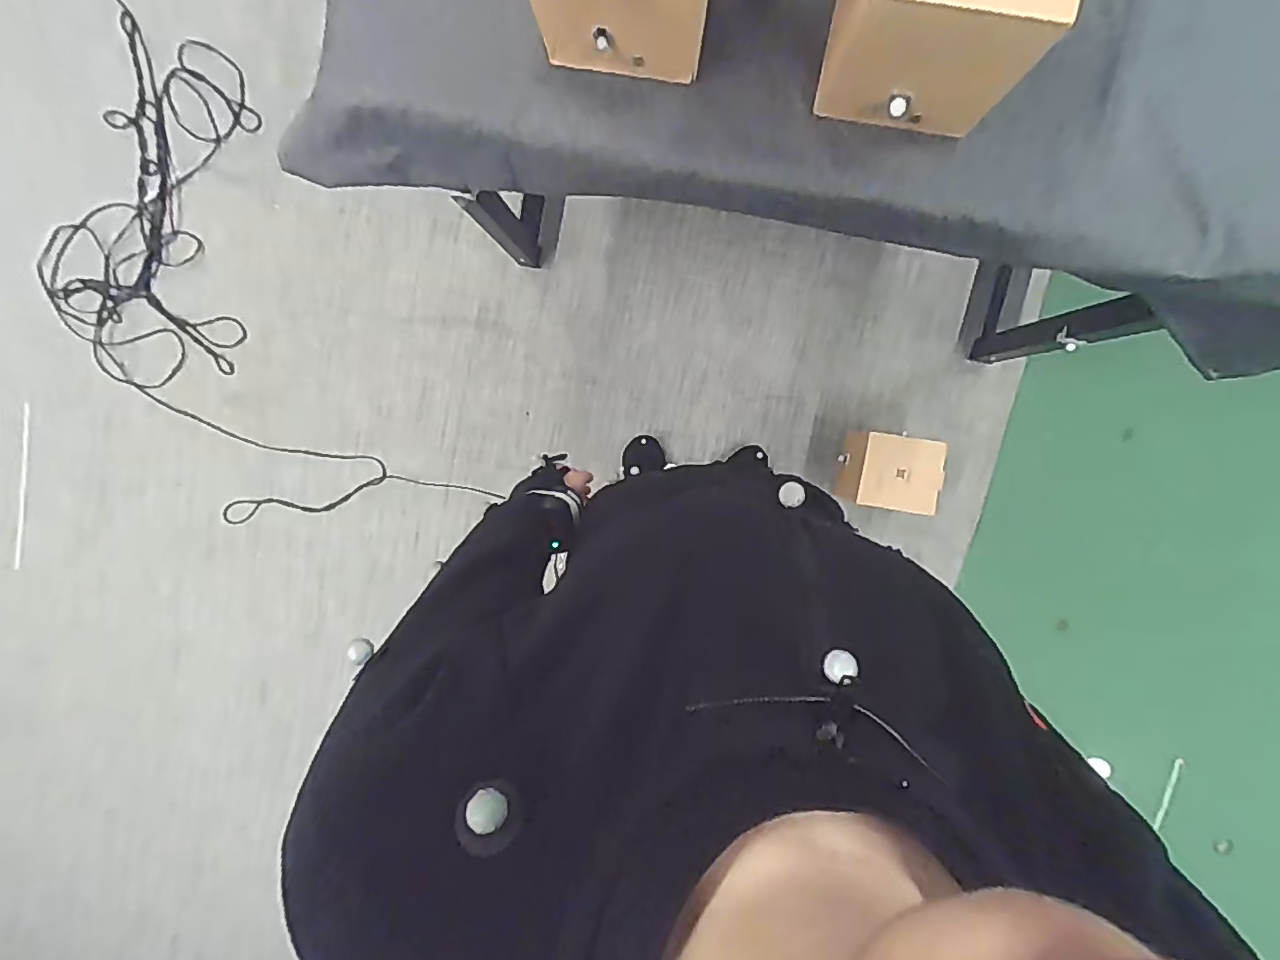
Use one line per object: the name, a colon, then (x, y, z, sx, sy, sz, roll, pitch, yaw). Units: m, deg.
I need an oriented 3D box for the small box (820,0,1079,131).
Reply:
small box: (0.281, -0.467, 0.497, 0.168, 0.176, 0.179, 11, 96, 3)

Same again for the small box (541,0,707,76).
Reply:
small box: (-0.010, -0.536, 0.511, 0.168, 0.176, 0.179, 9, 97, 2)

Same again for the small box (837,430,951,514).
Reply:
small box: (0.581, -0.024, 1.257, 0.179, 0.176, 0.168, 8, 95, 3)
